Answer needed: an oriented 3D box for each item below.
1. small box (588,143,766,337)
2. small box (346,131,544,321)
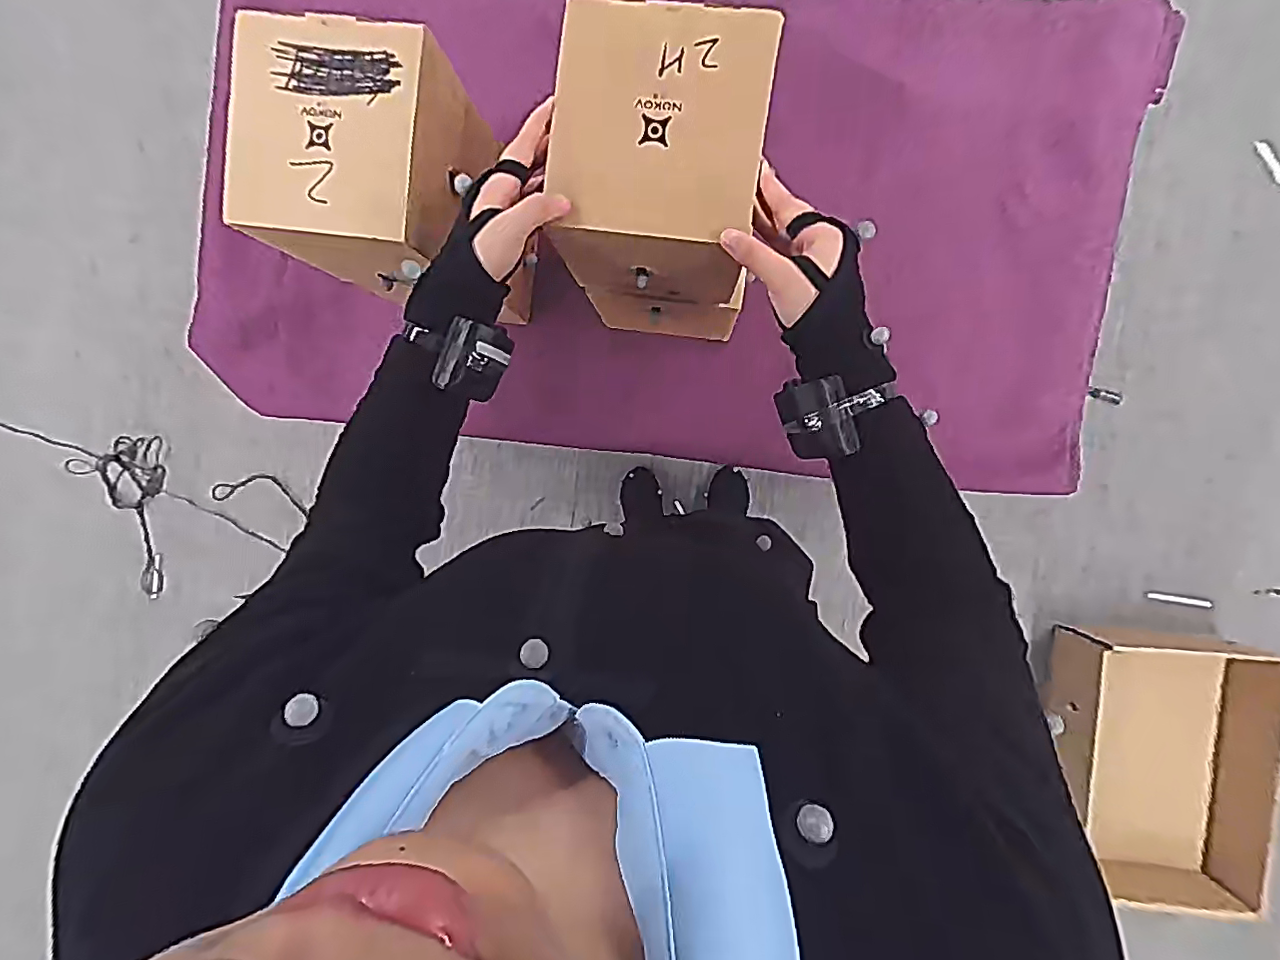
[{"bbox_3d":[0.046,-0.281,0.669,0.179,0.176,0.168,8,94,5],"label":"small box"},{"bbox_3d":[-0.237,-0.310,0.692,0.179,0.176,0.168,8,94,4],"label":"small box"}]
